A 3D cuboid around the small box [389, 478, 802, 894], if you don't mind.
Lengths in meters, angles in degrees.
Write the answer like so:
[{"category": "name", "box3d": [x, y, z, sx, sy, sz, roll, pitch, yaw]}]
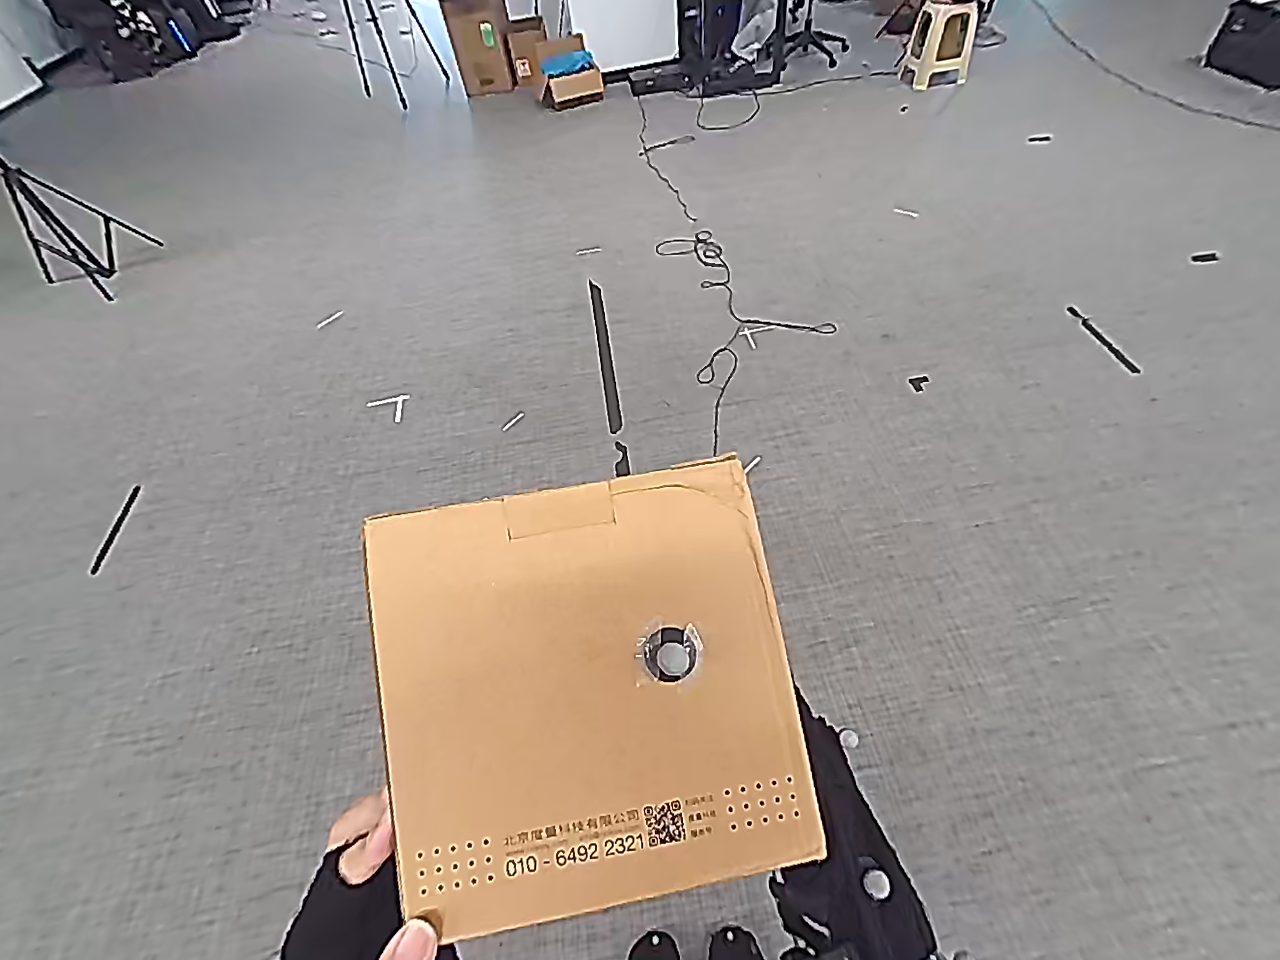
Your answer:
[{"category": "small box", "box3d": [-0.020, 0.106, 0.318, 0.168, 0.179, 0.176, -10, 82, -2]}]
